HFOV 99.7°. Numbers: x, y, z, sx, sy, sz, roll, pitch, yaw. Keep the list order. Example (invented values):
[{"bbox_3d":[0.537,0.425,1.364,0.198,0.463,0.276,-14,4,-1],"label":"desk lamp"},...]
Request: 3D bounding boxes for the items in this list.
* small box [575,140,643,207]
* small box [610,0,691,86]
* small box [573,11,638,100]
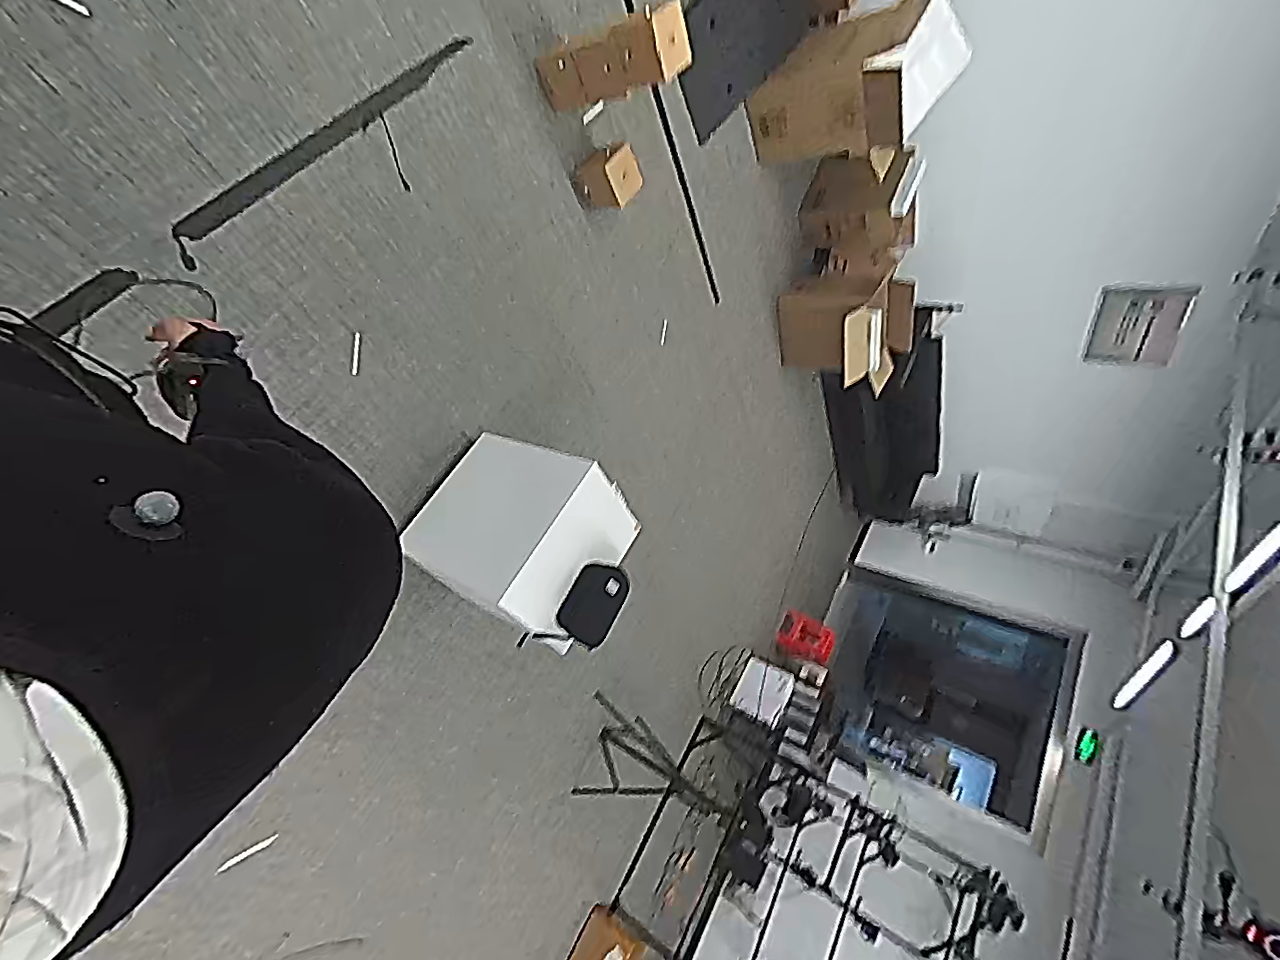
[{"bbox_3d":[-0.123,-1.205,2.133,0.179,0.176,0.168,-58,141,-21],"label":"small box"},{"bbox_3d":[0.034,-1.382,1.703,0.179,0.176,0.168,-56,142,-24],"label":"small box"},{"bbox_3d":[-0.095,-1.407,1.800,0.168,0.176,0.179,-57,143,-23],"label":"small box"}]
